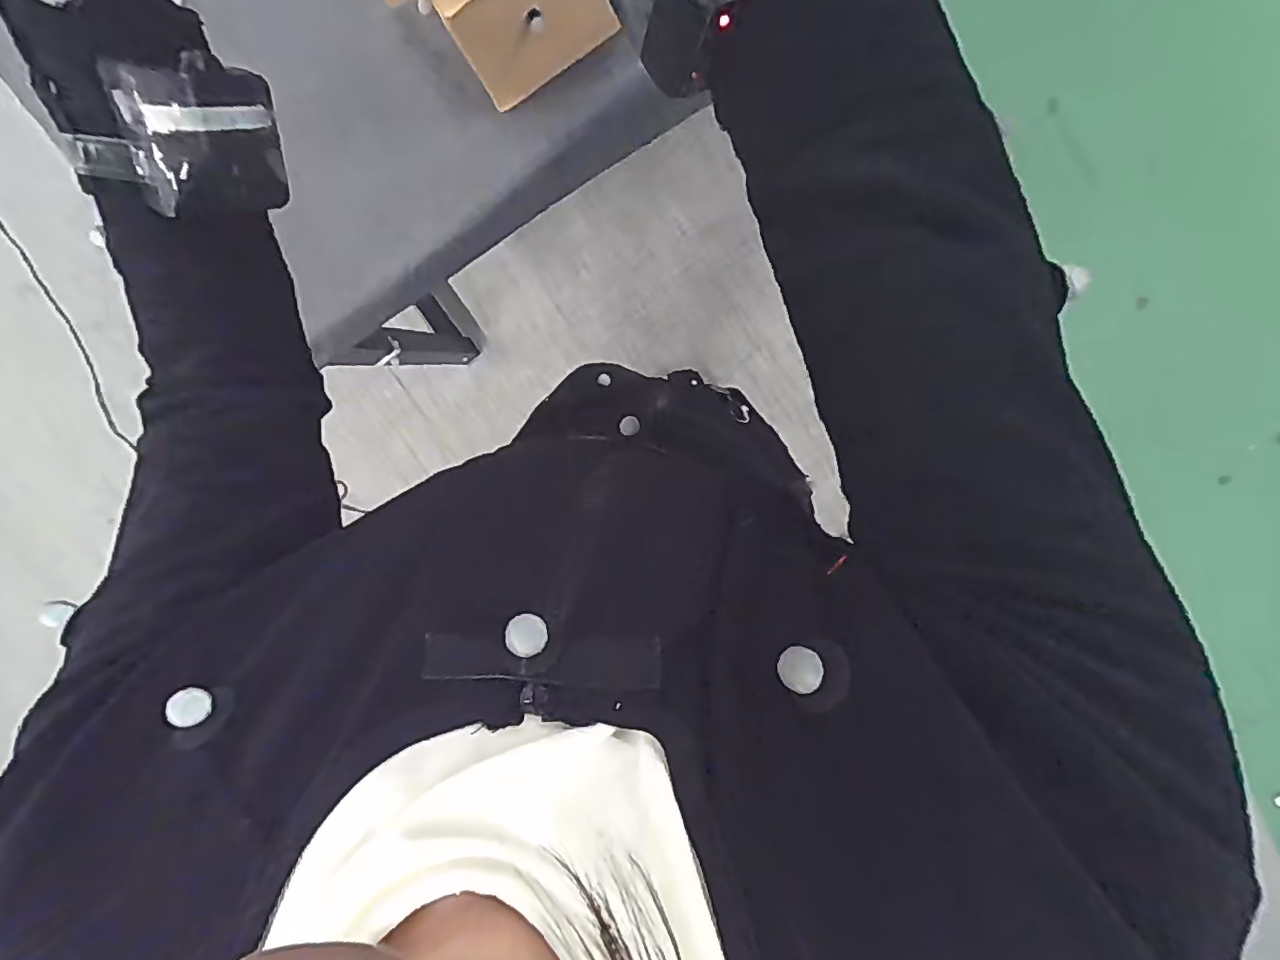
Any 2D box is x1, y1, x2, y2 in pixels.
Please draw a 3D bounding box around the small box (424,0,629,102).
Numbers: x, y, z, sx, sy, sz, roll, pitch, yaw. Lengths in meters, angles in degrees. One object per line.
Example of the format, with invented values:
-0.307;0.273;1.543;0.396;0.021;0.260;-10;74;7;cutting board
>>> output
-0.126;-0.506;0.503;0.179;0.176;0.168;-30;98;10;small box
